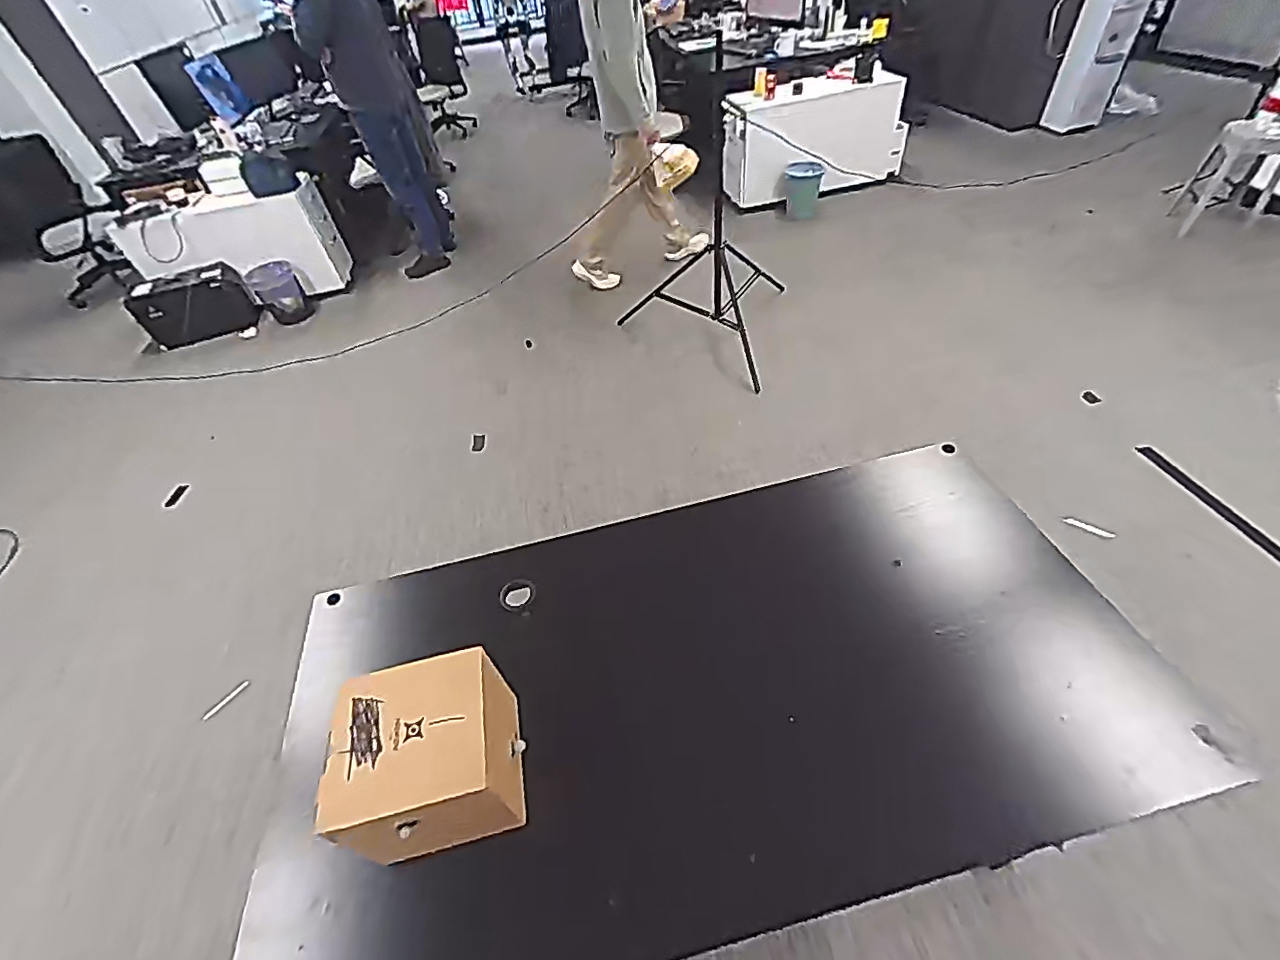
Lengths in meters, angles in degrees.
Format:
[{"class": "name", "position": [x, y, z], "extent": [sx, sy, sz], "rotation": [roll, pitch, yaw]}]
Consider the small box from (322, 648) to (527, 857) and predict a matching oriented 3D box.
[{"class": "small box", "position": [-0.251, 0.340, 0.671], "extent": [0.179, 0.176, 0.168], "rotation": [-13, 46, -5]}]
